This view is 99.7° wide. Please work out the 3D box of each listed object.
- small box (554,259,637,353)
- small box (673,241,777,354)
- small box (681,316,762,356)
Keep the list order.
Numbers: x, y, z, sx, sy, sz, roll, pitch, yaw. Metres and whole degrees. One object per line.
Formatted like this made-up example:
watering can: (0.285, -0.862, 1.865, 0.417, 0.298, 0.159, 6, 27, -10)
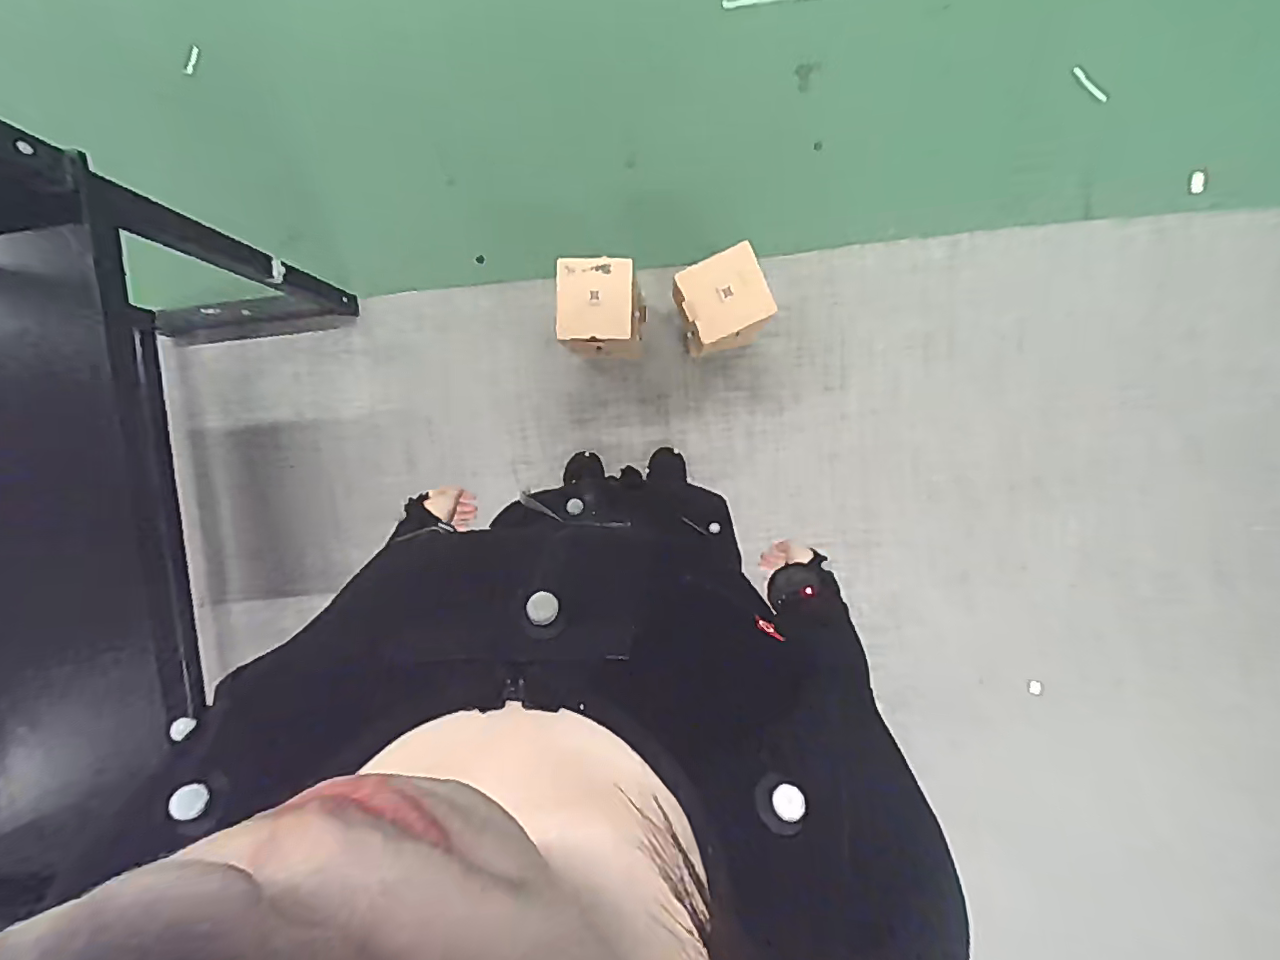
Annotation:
small box: (-0.095, -0.387, 1.229, 0.168, 0.176, 0.179, 2, 94, 3)
small box: (0.183, -0.398, 1.217, 0.179, 0.176, 0.168, -25, 95, 3)
small box: (0.197, -0.421, 1.377, 0.179, 0.176, 0.168, -12, 94, 3)
